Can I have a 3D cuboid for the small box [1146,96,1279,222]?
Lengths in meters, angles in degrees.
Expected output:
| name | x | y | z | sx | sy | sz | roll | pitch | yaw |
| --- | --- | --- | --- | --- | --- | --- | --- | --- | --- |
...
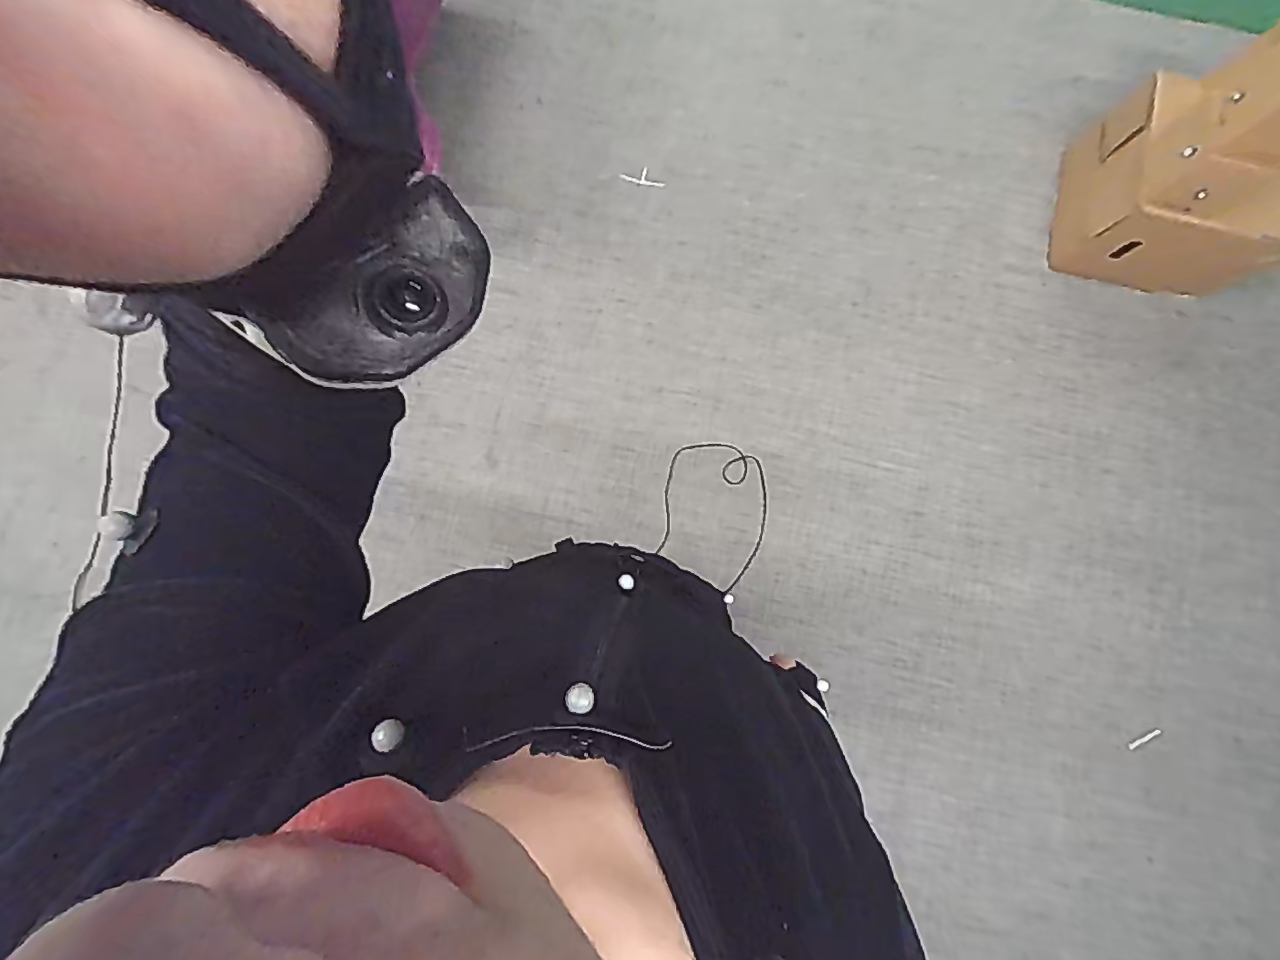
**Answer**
| name | x | y | z | sx | sy | sz | roll | pitch | yaw |
| --- | --- | --- | --- | --- | --- | --- | --- | --- | --- |
| small box | 1.351 | -0.743 | 1.270 | 0.168 | 0.176 | 0.179 | 14 | 83 | 0 |
